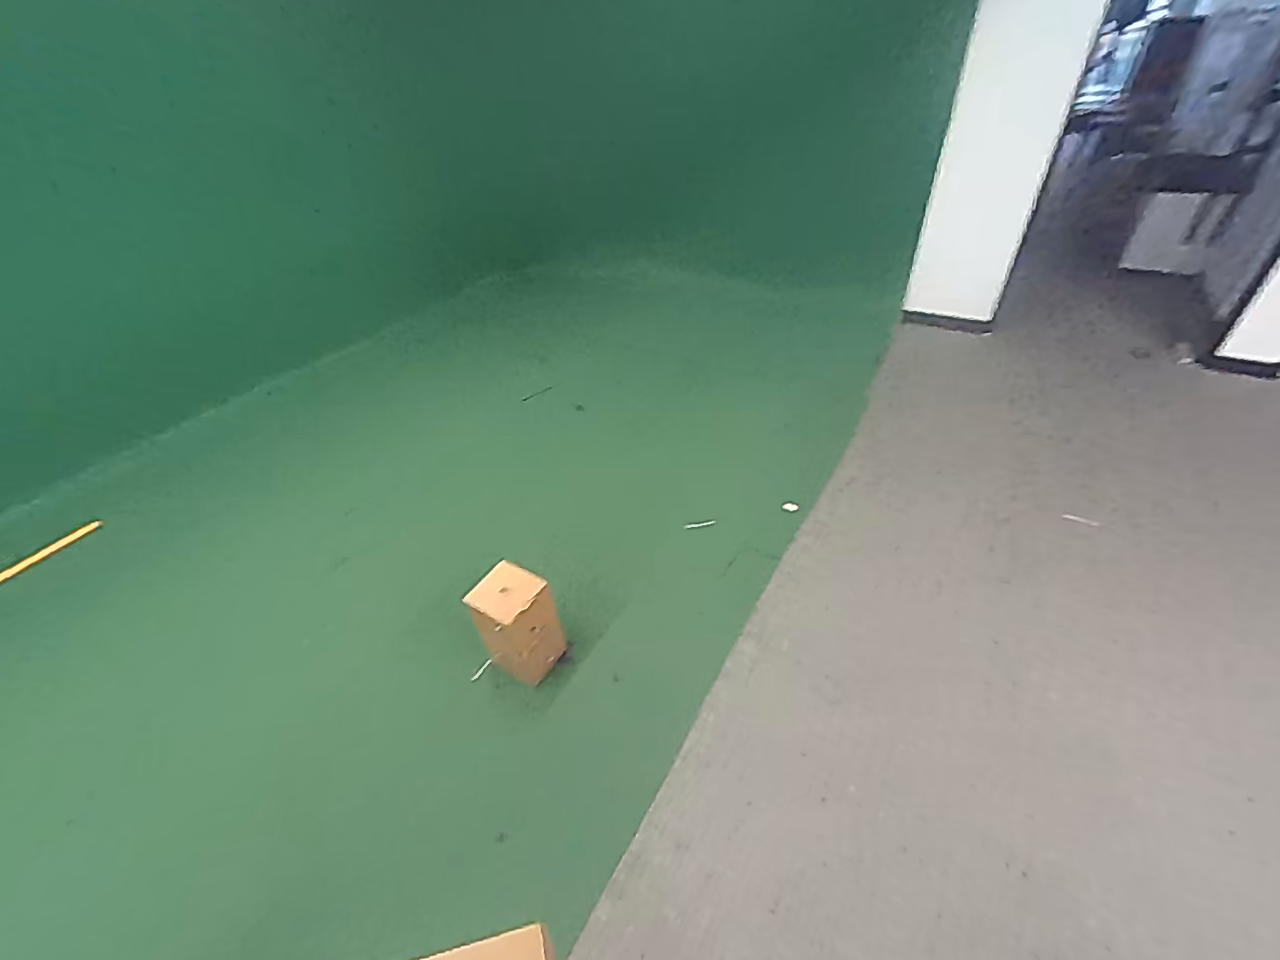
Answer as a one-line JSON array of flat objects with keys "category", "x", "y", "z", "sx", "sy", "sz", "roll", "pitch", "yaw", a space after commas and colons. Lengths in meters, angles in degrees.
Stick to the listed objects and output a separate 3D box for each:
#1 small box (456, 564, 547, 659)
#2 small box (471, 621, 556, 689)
[{"category": "small box", "x": -0.389, "y": 0.378, "z": 1.546, "sx": 0.179, "sy": 0.176, "sz": 0.168, "roll": 20, "pitch": 45, "yaw": 25}, {"category": "small box", "x": -0.380, "y": 0.503, "z": 1.648, "sx": 0.179, "sy": 0.176, "sz": 0.168, "roll": 21, "pitch": 46, "yaw": 26}]
